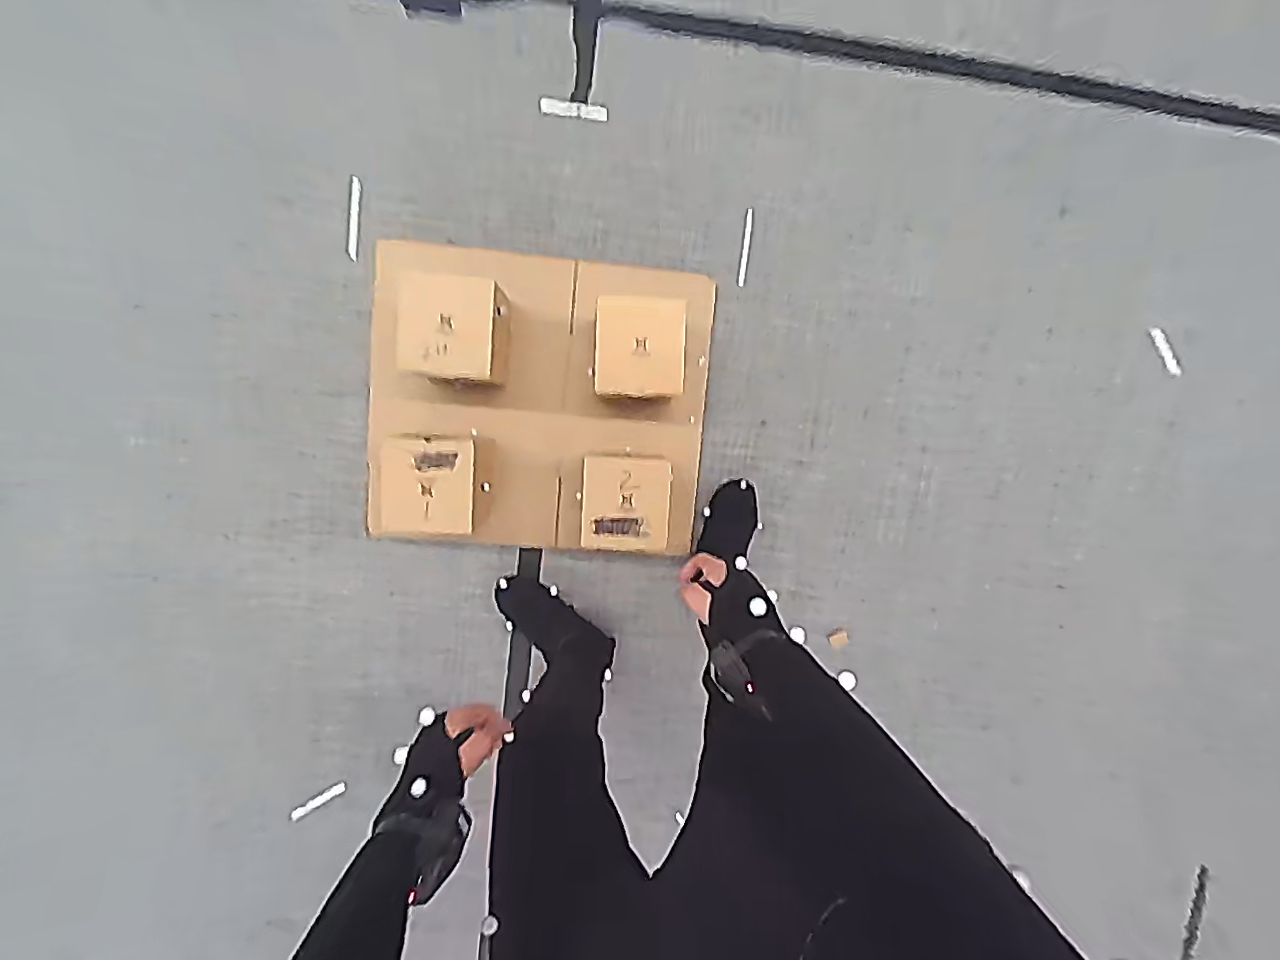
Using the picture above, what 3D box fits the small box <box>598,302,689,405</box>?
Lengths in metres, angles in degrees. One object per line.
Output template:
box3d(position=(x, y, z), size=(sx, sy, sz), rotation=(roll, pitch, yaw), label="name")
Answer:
box3d(position=(0.001, -0.243, 1.075), size=(0.168, 0.176, 0.179), rotation=(1, 96, -4), label="small box")

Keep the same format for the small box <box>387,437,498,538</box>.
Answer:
box3d(position=(-0.383, 0.008, 1.070), size=(0.168, 0.176, 0.179), rotation=(3, 97, -3), label="small box")

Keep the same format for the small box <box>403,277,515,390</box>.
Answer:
box3d(position=(-0.340, -0.273, 1.043), size=(0.168, 0.176, 0.179), rotation=(4, 96, -3), label="small box")
